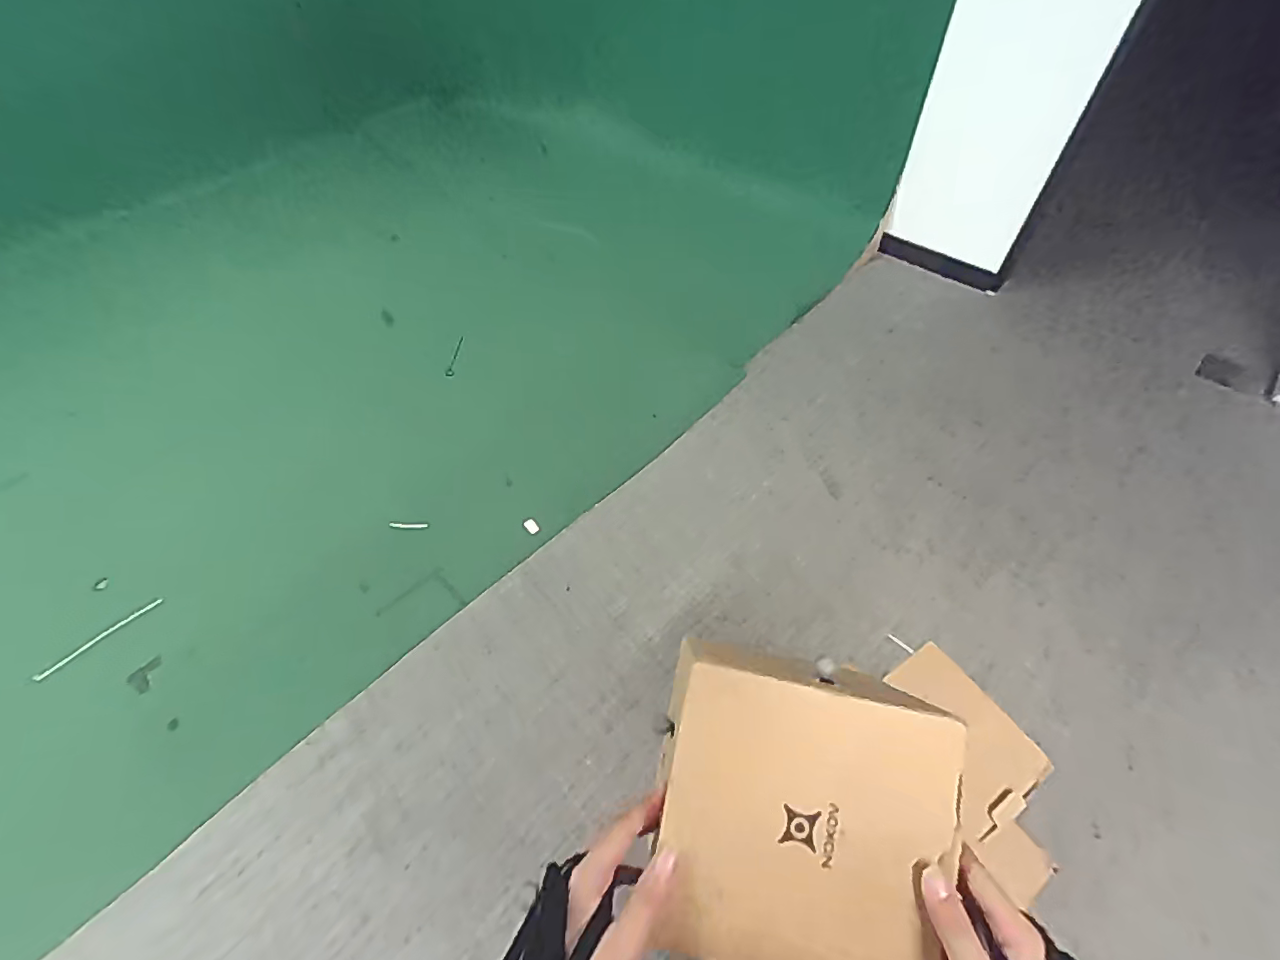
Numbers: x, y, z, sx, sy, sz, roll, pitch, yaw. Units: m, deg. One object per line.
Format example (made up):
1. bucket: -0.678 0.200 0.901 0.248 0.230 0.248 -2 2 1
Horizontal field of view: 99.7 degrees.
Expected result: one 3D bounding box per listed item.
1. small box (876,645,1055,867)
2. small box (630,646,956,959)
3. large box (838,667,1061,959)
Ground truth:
1. small box: 0.353 0.349 0.684 0.168 0.176 0.179 -29 56 -17
2. small box: 0.097 0.225 0.400 0.179 0.176 0.168 10 79 4
3. large box: 0.403 0.629 0.980 0.320 0.320 0.408 -35 59 -18
